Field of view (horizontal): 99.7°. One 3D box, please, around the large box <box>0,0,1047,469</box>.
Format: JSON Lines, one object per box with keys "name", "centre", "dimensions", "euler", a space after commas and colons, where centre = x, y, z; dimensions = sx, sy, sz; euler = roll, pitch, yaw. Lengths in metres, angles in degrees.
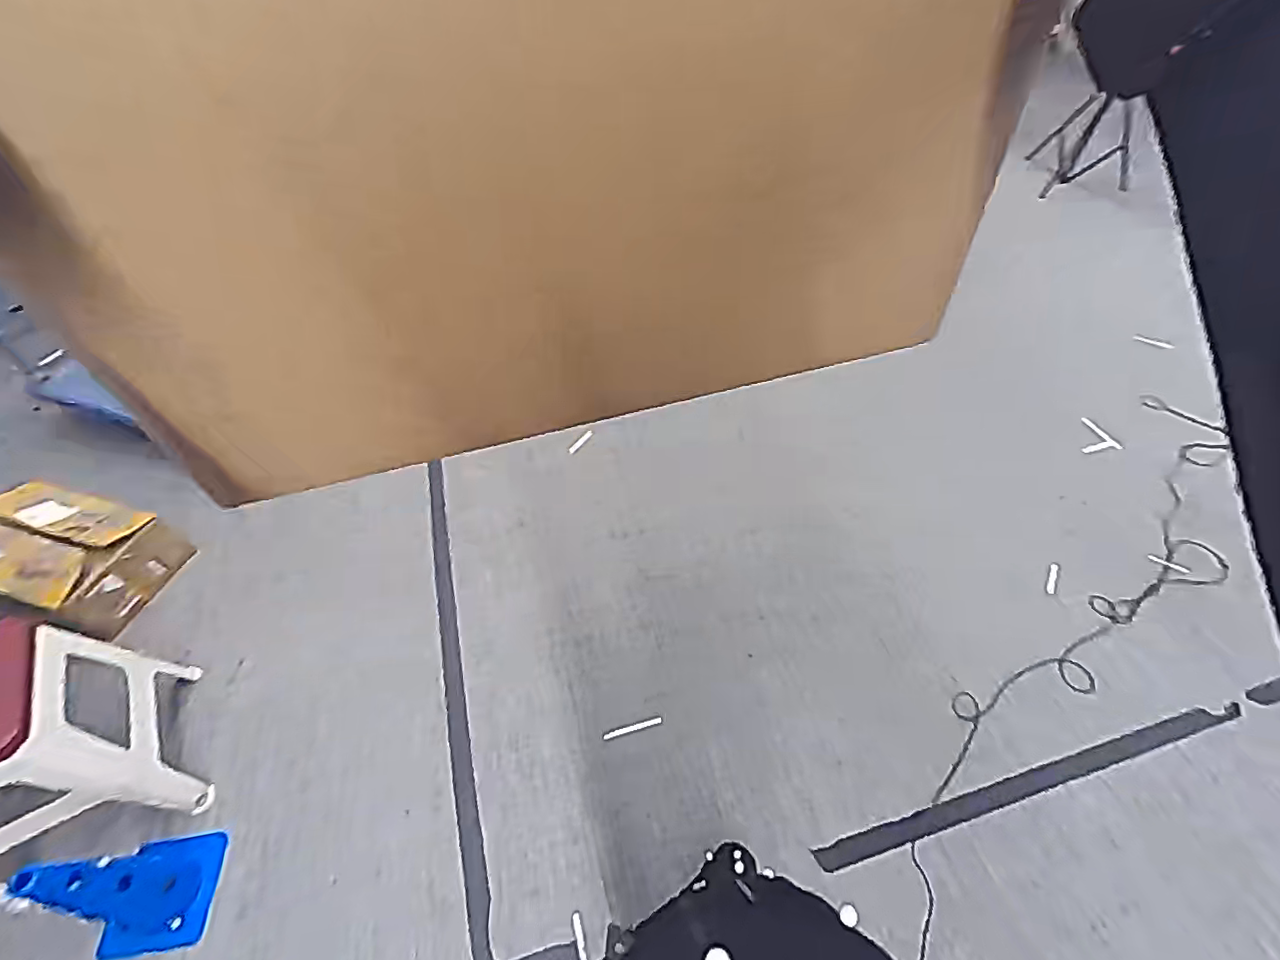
{"name": "large box", "centre": [-0.059, -0.252, 0.295], "dimensions": [0.408, 0.320, 0.320], "euler": [-14, 47, -9]}
